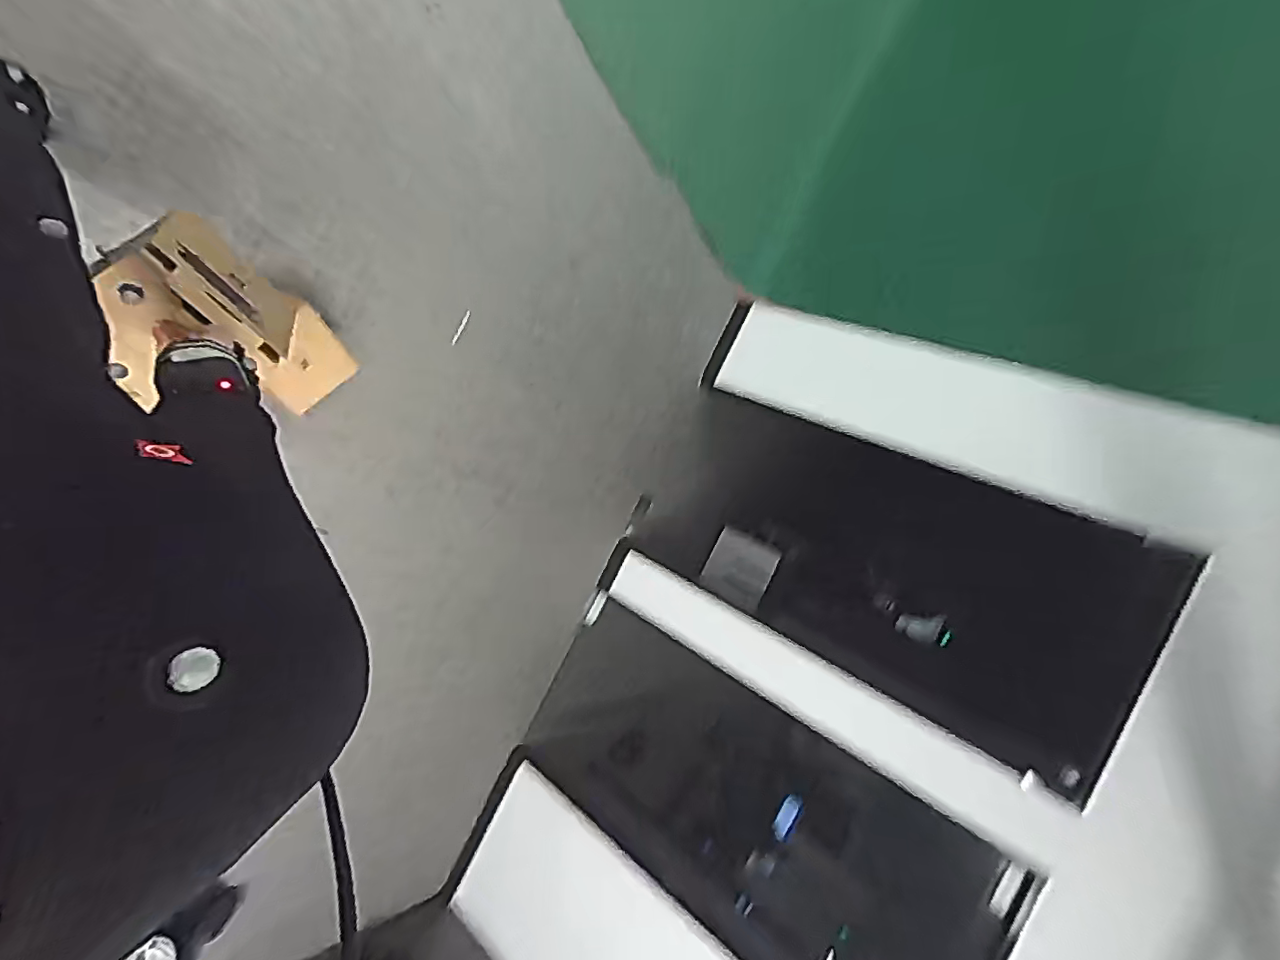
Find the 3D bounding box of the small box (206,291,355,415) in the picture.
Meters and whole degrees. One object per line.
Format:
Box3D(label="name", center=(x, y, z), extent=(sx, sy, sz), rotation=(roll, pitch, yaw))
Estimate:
Box3D(label="small box", center=(-0.765, -0.275, 1.156), extent=(0.168, 0.176, 0.179), rotation=(-49, 147, -23))
